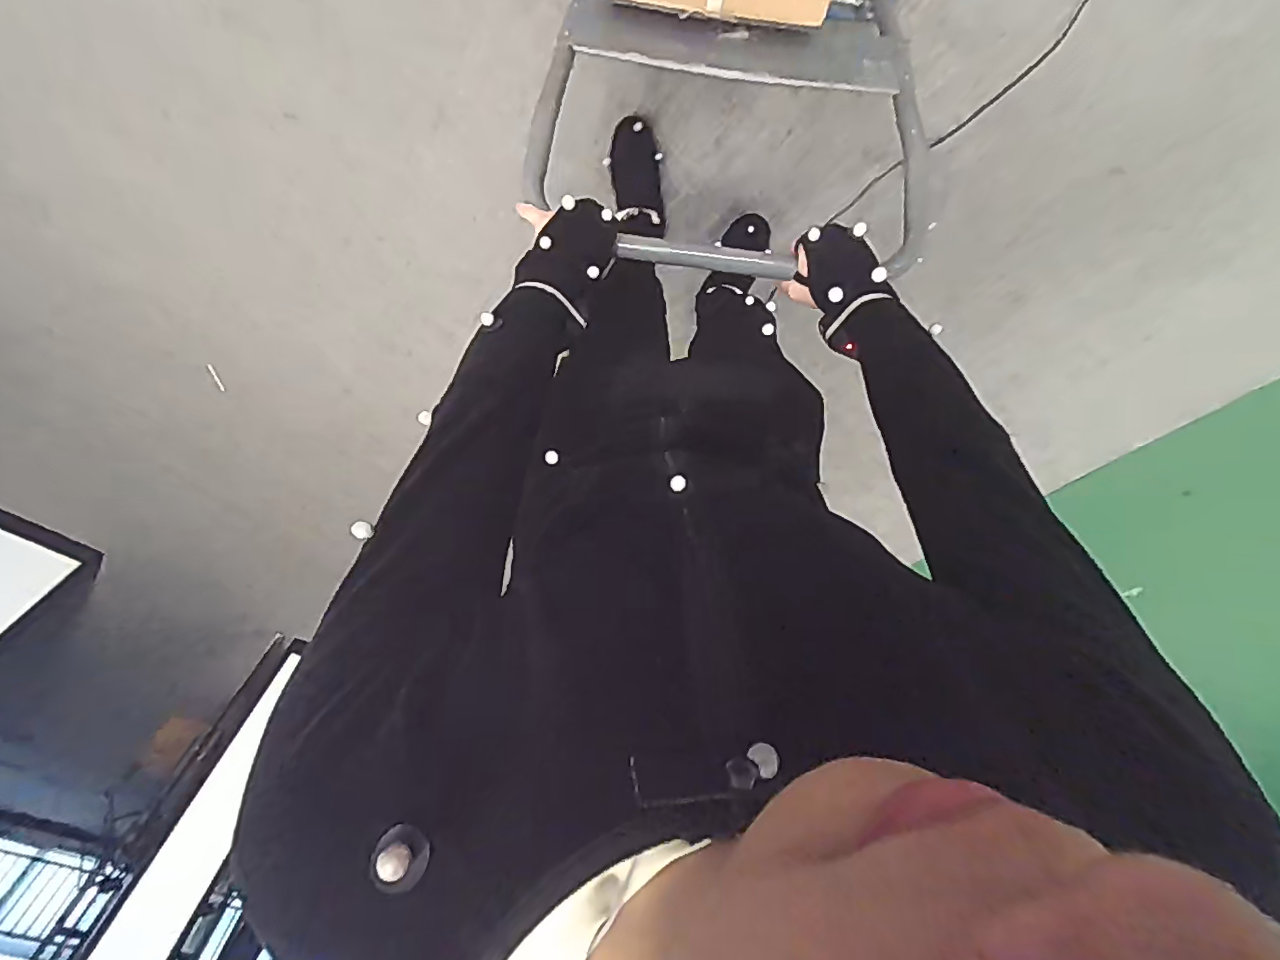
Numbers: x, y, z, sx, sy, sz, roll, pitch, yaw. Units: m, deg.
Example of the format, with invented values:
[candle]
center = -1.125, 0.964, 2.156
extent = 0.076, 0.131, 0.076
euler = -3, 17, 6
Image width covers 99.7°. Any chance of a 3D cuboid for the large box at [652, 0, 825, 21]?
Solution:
[large box]
center = 0.132, -0.895, 0.676
extent = 0.320, 0.320, 0.408
euler = 8, 148, -1
